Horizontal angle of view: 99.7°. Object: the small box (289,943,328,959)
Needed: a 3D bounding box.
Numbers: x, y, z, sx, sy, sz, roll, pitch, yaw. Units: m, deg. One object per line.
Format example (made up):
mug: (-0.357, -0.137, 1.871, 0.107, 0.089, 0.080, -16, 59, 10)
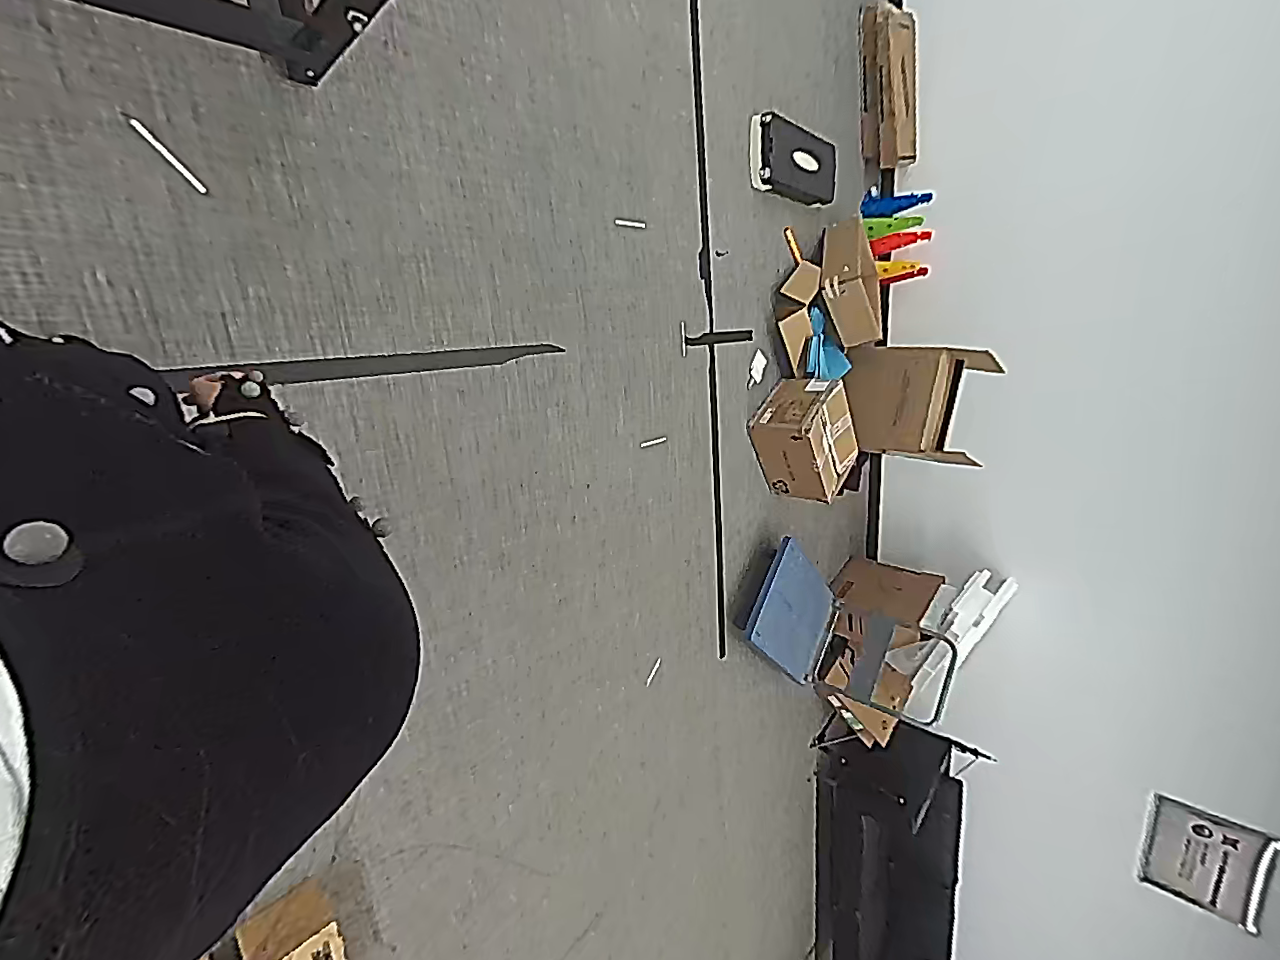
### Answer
small box: (-0.859, 1.336, 1.365, 0.168, 0.176, 0.179, -21, 115, -44)
